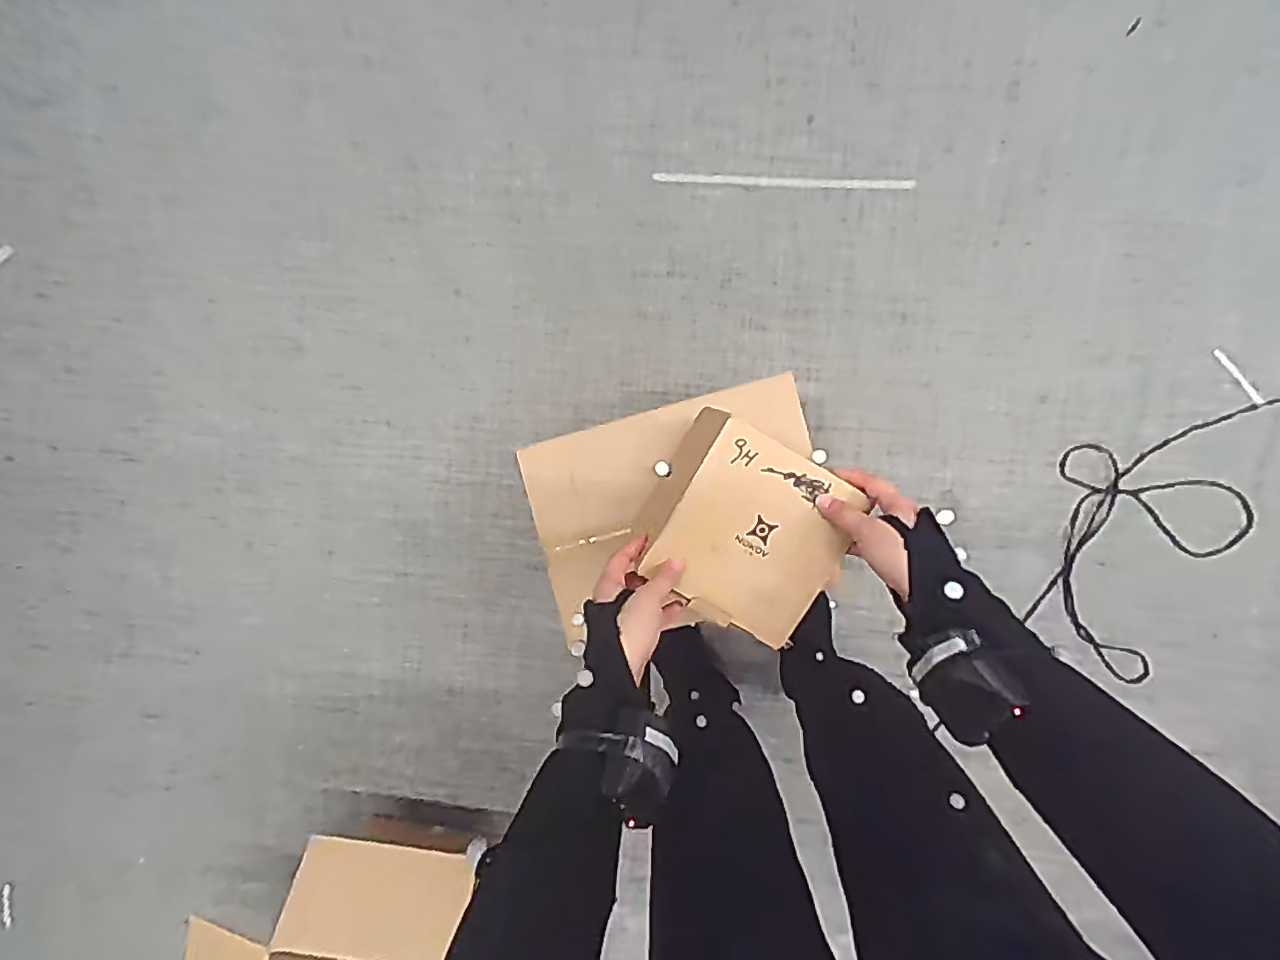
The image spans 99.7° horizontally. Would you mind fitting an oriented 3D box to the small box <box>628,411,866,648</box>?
[{"bbox_3d":[0.101,0.040,0.591,0.168,0.176,0.179,31,98,-7],"label":"small box"}]
